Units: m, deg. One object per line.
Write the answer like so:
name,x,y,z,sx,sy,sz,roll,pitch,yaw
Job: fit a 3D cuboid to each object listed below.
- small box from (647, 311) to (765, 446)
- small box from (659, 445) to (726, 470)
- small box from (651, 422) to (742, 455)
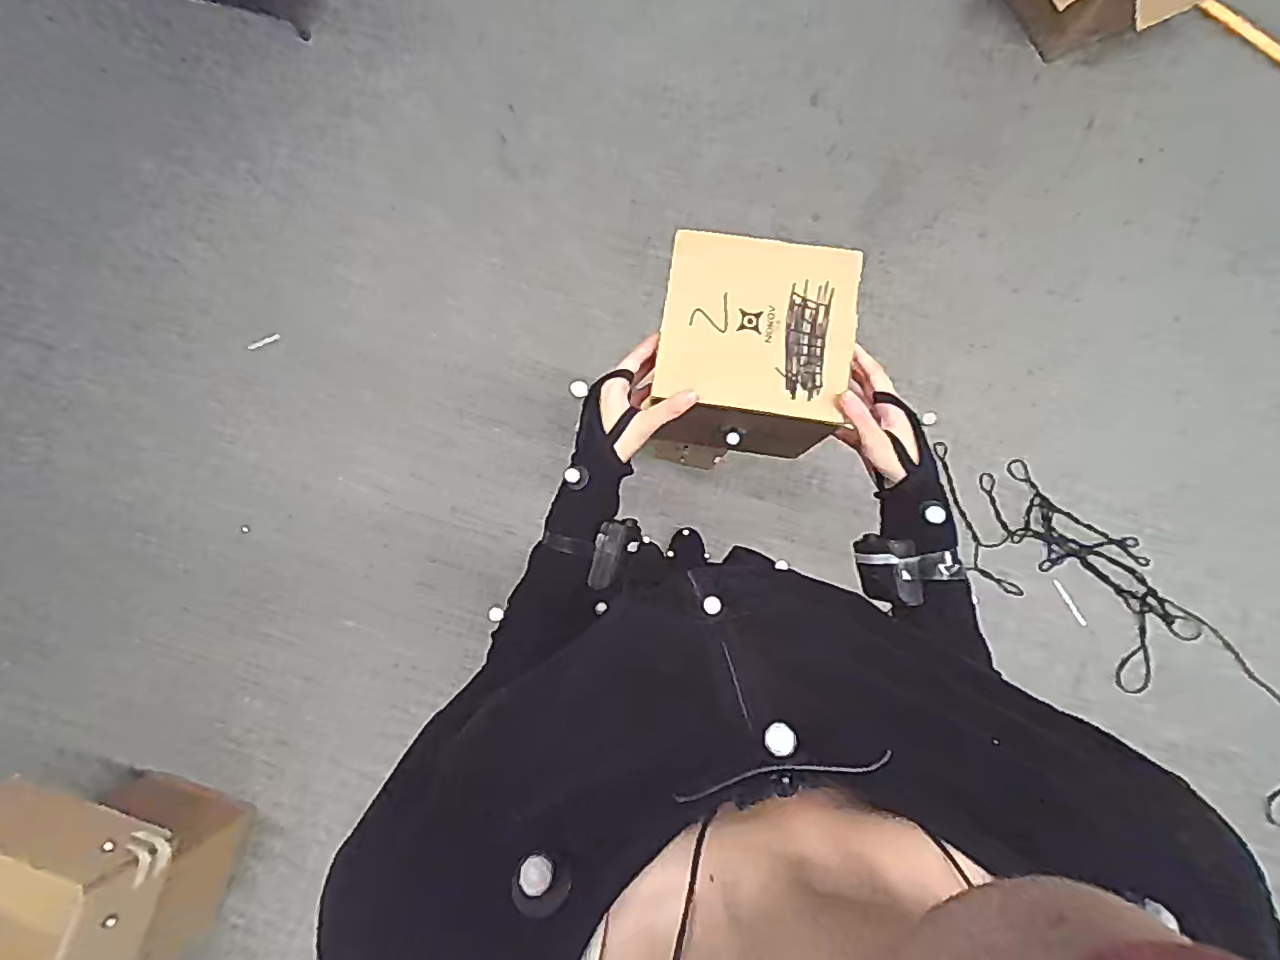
small box,0.112,-0.172,0.964,0.168,0.176,0.179,13,86,5
small box,0.153,-0.131,1.452,0.179,0.176,0.168,15,85,4
small box,0.127,-0.155,1.126,0.179,0.176,0.168,13,85,4
